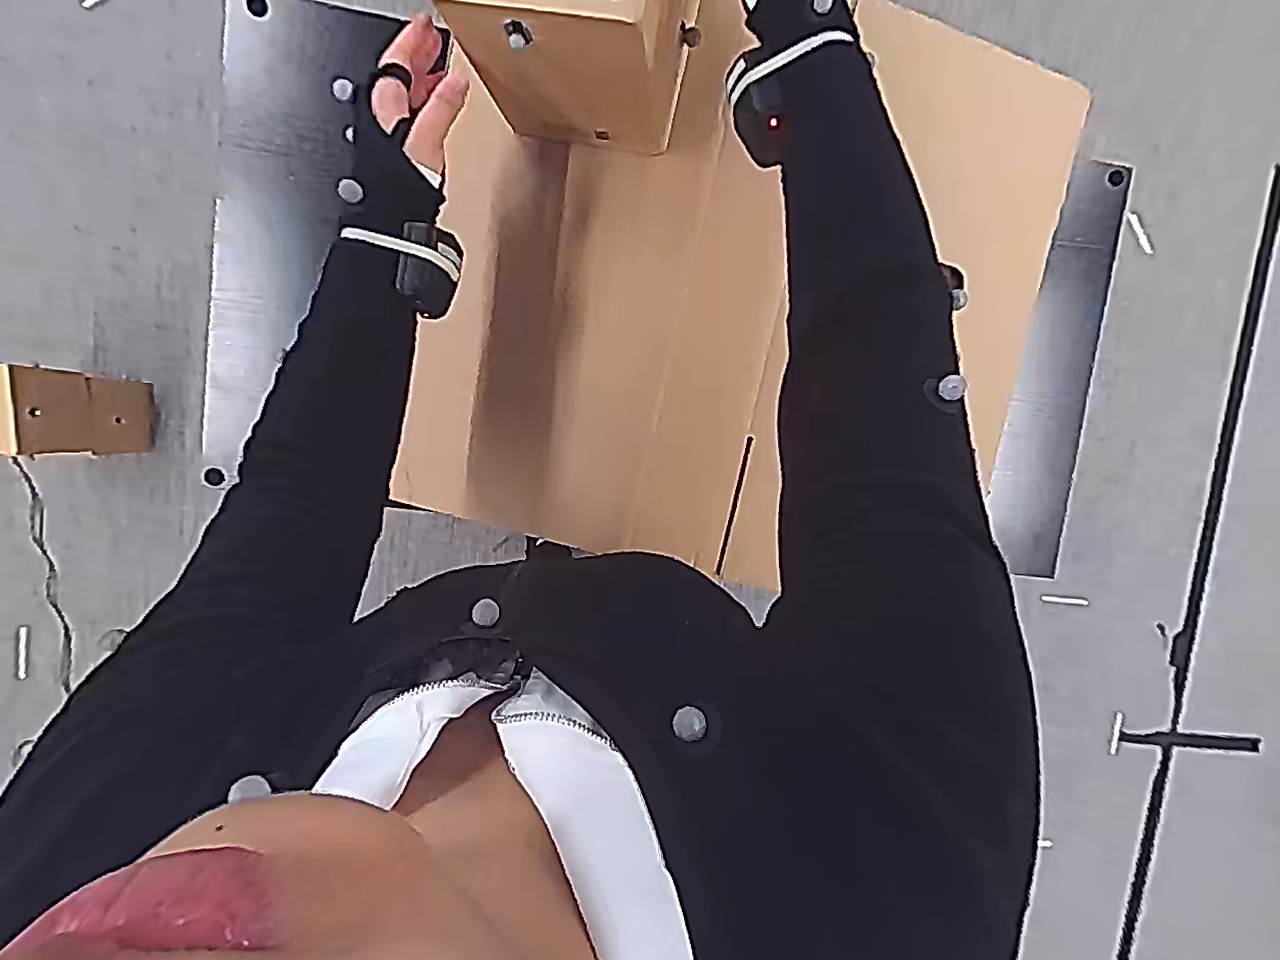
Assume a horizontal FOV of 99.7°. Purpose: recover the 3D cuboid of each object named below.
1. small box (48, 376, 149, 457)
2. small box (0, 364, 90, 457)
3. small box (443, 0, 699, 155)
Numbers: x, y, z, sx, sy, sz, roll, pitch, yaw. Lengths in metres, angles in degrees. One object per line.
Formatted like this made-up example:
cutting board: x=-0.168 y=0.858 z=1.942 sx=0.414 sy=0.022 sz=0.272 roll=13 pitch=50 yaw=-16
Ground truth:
small box: x=-1.287 y=-0.149 z=1.250 sx=0.168 sy=0.176 sz=0.179 roll=3 pitch=96 yaw=-6
small box: x=-1.271 y=-0.139 z=1.088 sx=0.168 sy=0.176 sz=0.179 roll=-1 pitch=95 yaw=-7
small box: x=-0.045 y=-0.422 z=0.462 sx=0.168 sy=0.176 sz=0.179 roll=13 pitch=93 yaw=8
